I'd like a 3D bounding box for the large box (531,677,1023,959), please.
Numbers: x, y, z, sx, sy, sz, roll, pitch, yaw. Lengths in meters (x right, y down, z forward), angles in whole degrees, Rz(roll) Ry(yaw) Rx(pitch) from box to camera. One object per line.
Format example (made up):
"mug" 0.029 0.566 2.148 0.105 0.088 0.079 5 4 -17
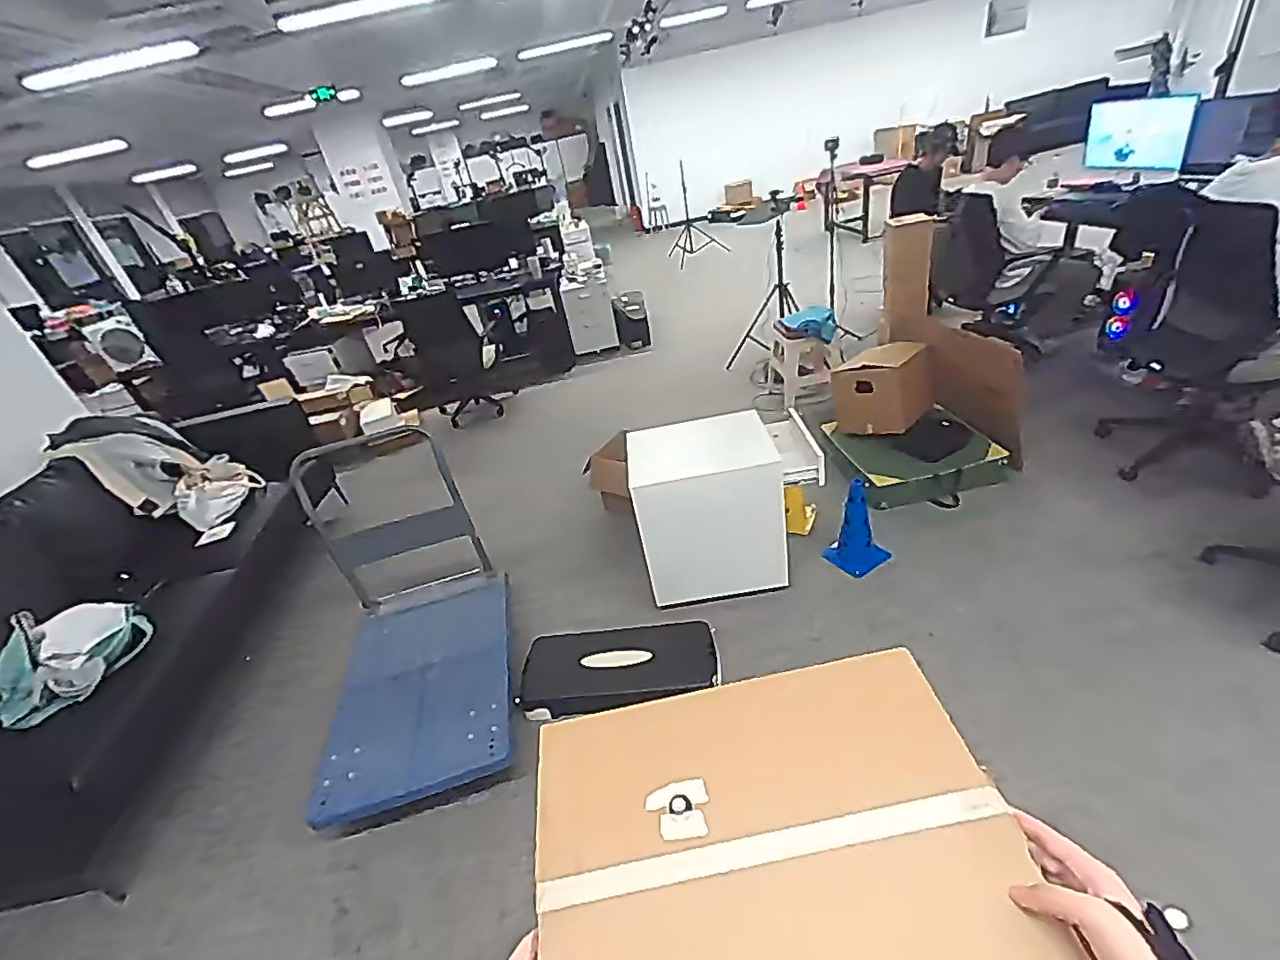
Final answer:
"large box" 0.135 0.428 0.591 0.408 0.320 0.320 -9 53 12
